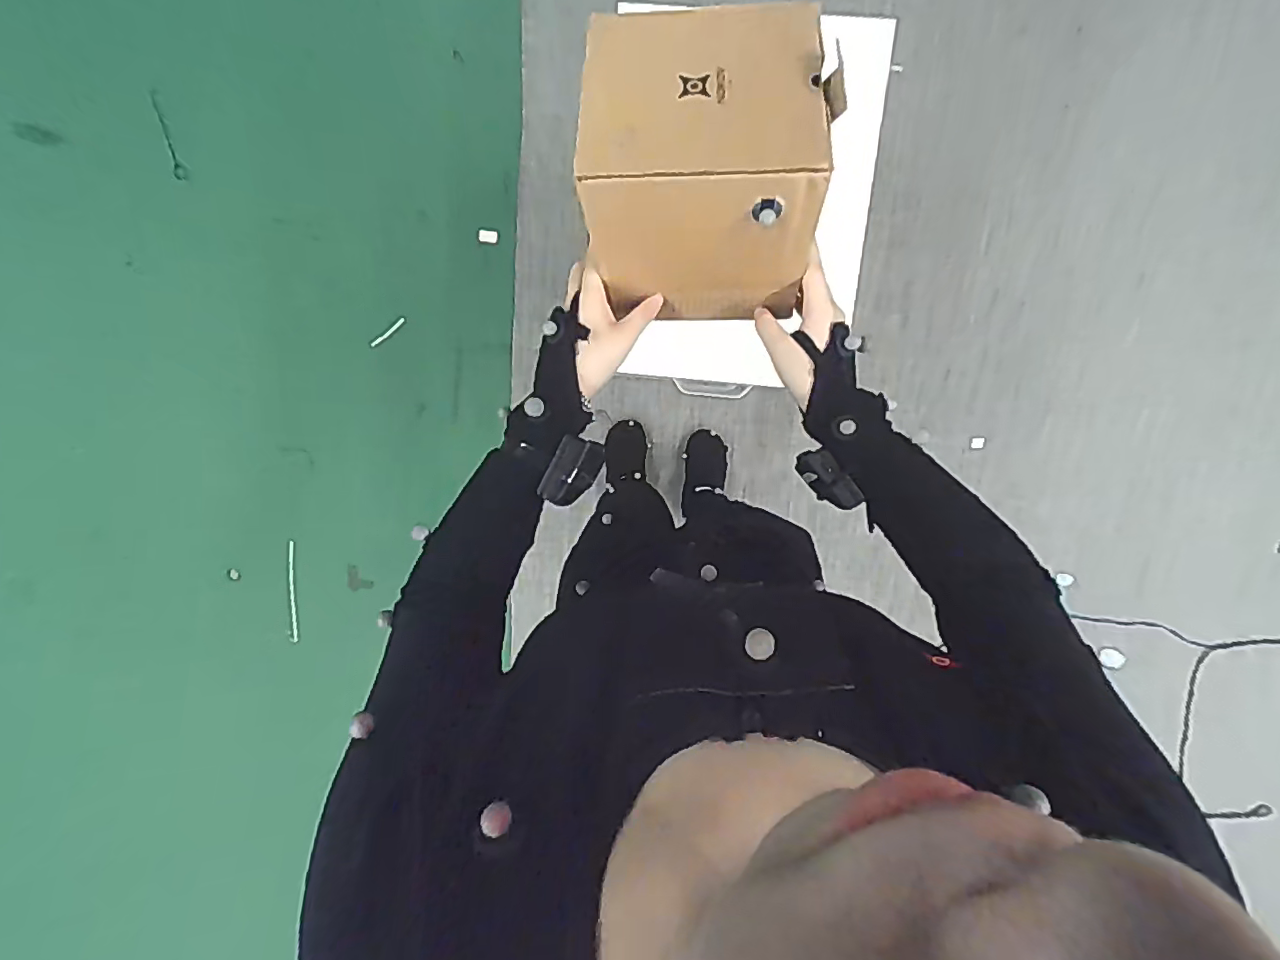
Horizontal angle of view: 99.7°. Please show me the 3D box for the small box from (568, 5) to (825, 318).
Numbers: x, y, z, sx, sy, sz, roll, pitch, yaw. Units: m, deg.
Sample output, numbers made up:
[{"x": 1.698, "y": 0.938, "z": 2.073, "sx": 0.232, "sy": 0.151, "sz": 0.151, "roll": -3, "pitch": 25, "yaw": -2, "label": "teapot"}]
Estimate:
[{"x": 0.047, "y": -0.256, "z": 0.464, "sx": 0.179, "sy": 0.176, "sz": 0.168, "roll": 1, "pitch": 70, "yaw": 5, "label": "small box"}]
